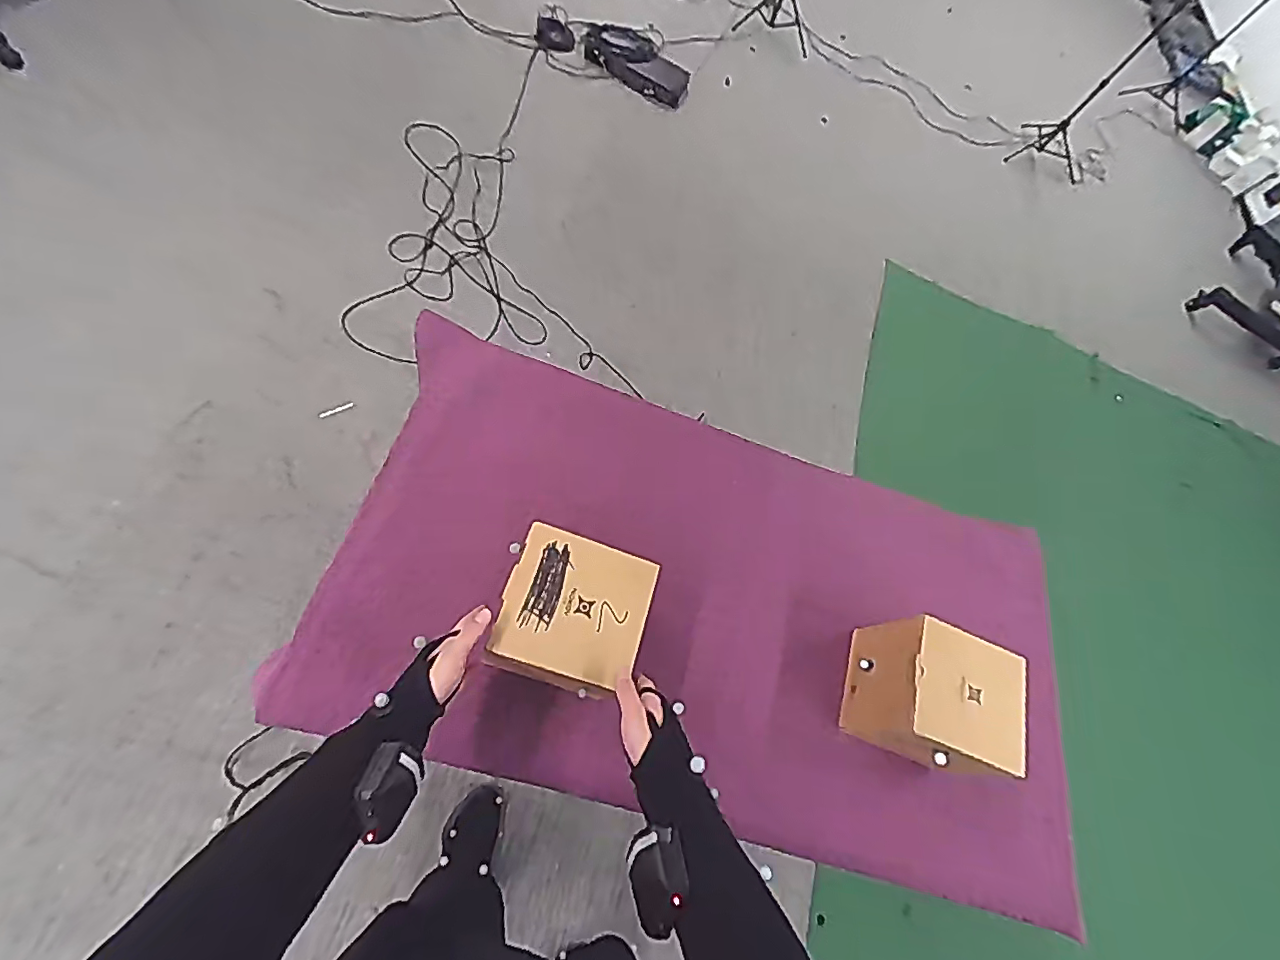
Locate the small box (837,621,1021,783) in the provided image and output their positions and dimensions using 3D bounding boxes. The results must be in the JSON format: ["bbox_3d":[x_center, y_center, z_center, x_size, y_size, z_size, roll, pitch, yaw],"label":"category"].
[{"bbox_3d":[0.435,0.334,0.825,0.179,0.176,0.168,25,63,-5],"label":"small box"}]
